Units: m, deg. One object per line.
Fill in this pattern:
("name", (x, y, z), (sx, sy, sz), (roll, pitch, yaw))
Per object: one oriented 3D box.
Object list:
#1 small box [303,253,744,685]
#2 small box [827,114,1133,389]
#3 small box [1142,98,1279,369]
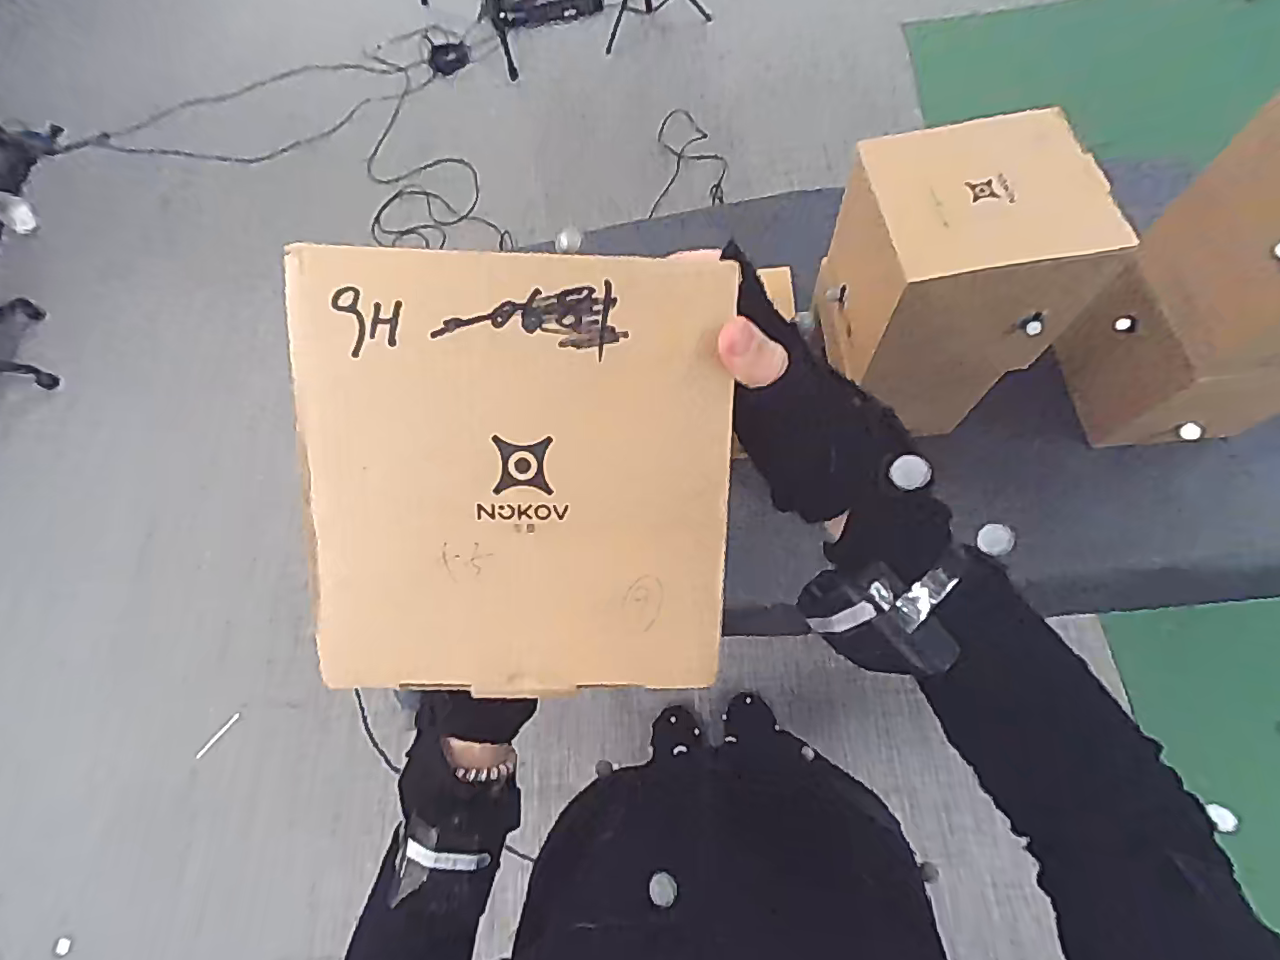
("small box", (-0.047, -0.012, 0.295), (0.168, 0.176, 0.179), (0, 101, -4))
("small box", (0.300, -0.208, 0.527), (0.179, 0.176, 0.168), (-7, 67, 5))
("small box", (0.618, -0.212, 0.483), (0.168, 0.176, 0.179), (-3, 68, 7))
